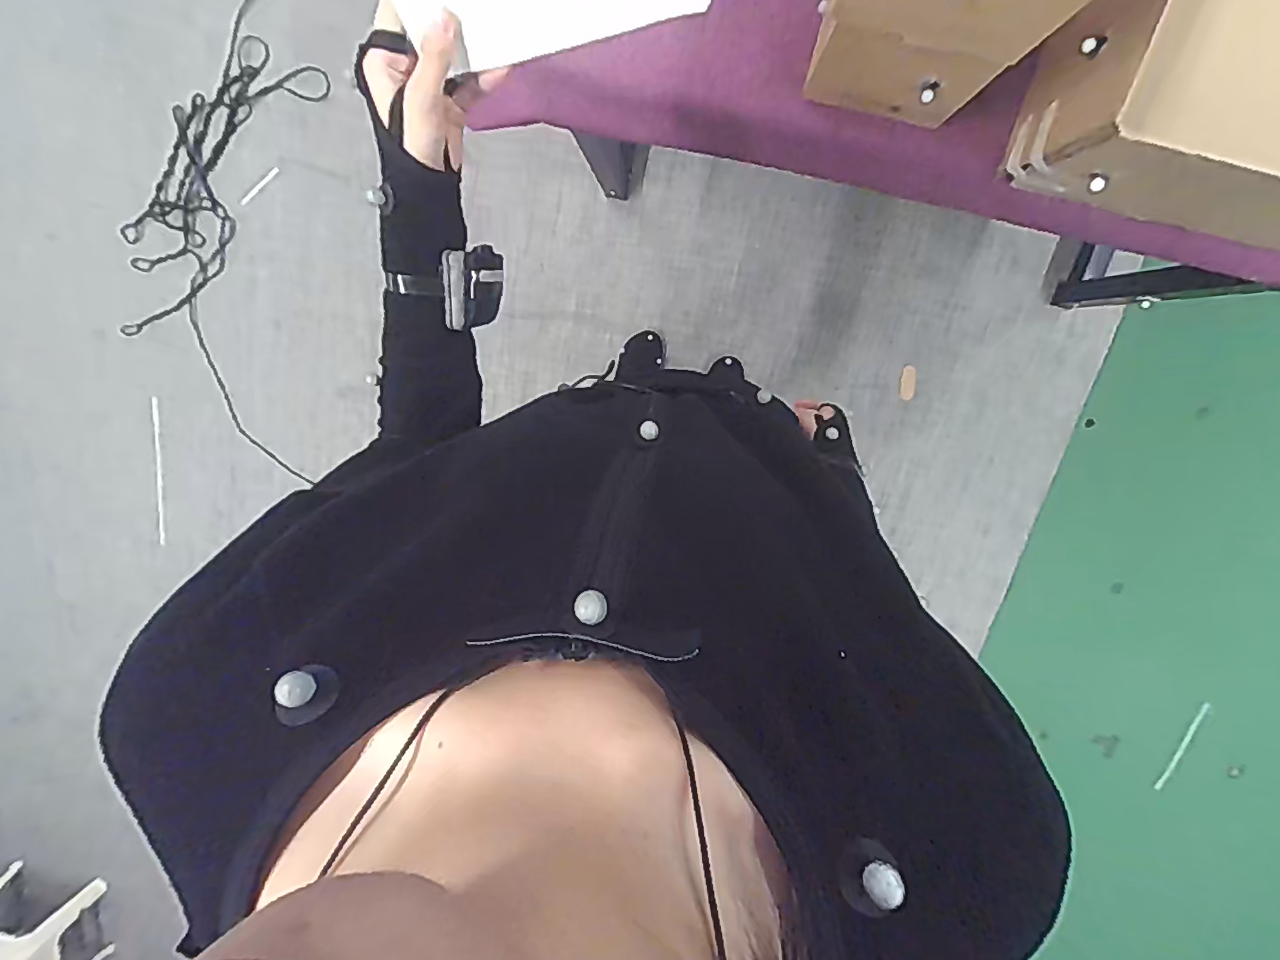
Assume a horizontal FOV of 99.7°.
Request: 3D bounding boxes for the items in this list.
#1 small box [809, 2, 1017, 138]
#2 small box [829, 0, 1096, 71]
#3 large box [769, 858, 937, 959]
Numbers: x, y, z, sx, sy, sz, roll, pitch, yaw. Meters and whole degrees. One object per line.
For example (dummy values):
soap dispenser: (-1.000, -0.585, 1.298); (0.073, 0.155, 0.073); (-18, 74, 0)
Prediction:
small box: (0.286, -0.485, 0.550); (0.168, 0.176, 0.179); (14, 103, 1)
small box: (0.265, -0.441, 0.393); (0.179, 0.176, 0.168); (15, 103, 1)
large box: (0.621, 1.417, 1.651); (0.408, 0.320, 0.320); (-1, 104, 4)
